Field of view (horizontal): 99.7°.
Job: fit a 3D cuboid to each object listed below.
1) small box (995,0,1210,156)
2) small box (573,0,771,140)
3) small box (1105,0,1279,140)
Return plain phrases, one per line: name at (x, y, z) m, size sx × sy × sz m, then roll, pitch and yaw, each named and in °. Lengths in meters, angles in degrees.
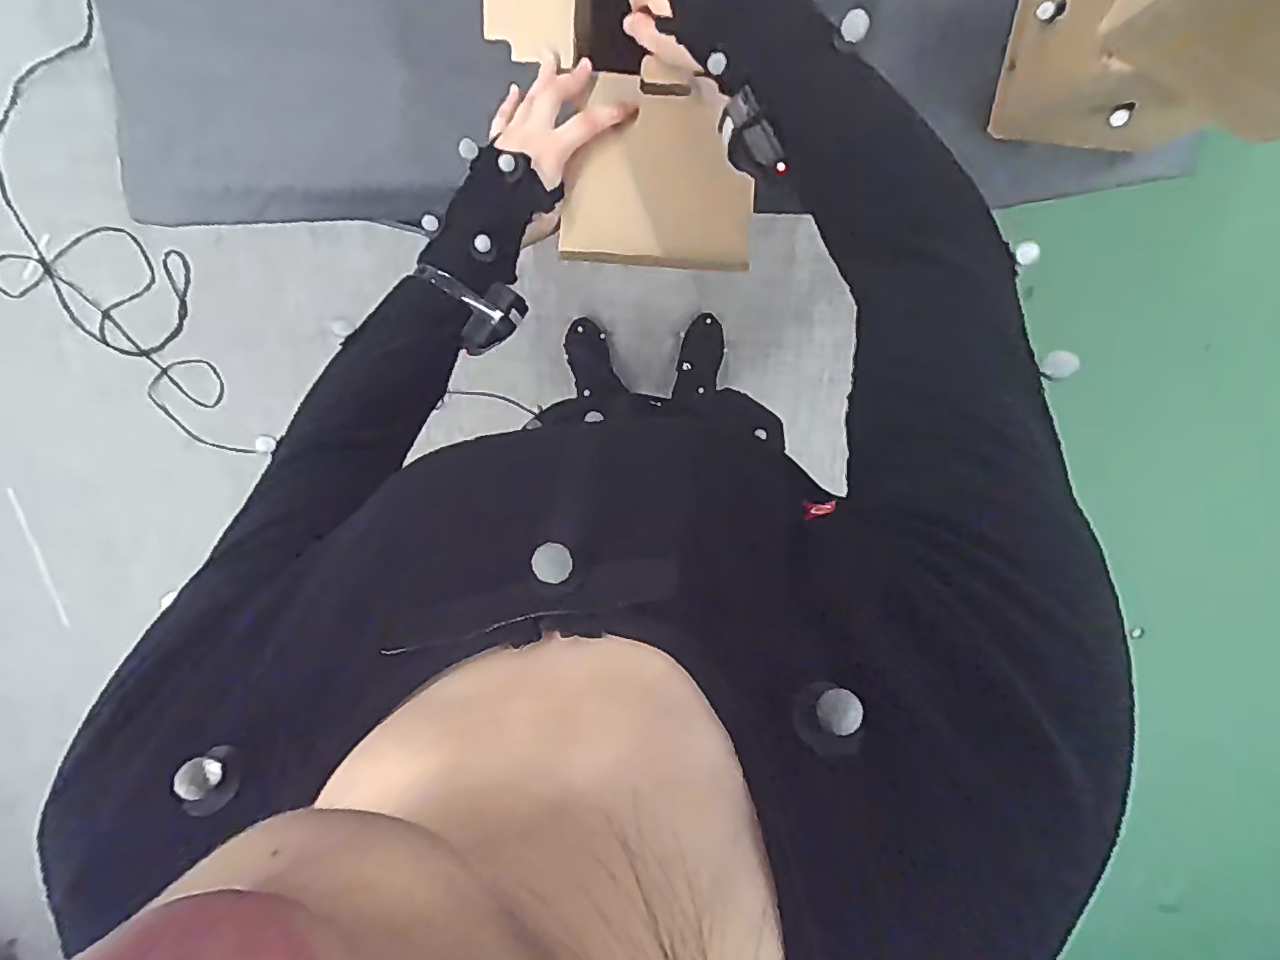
small box at (0.476, -0.420, 0.501) m, size 0.179 × 0.176 × 0.168 m, roll 6°, pitch 106°, yaw 1°
small box at (0.034, -0.443, 0.512) m, size 0.168 × 0.176 × 0.179 m, roll 4°, pitch 108°, yaw 2°
small box at (0.474, -0.359, 0.348) m, size 0.179 × 0.176 × 0.168 m, roll 27°, pitch 105°, yaw -6°
